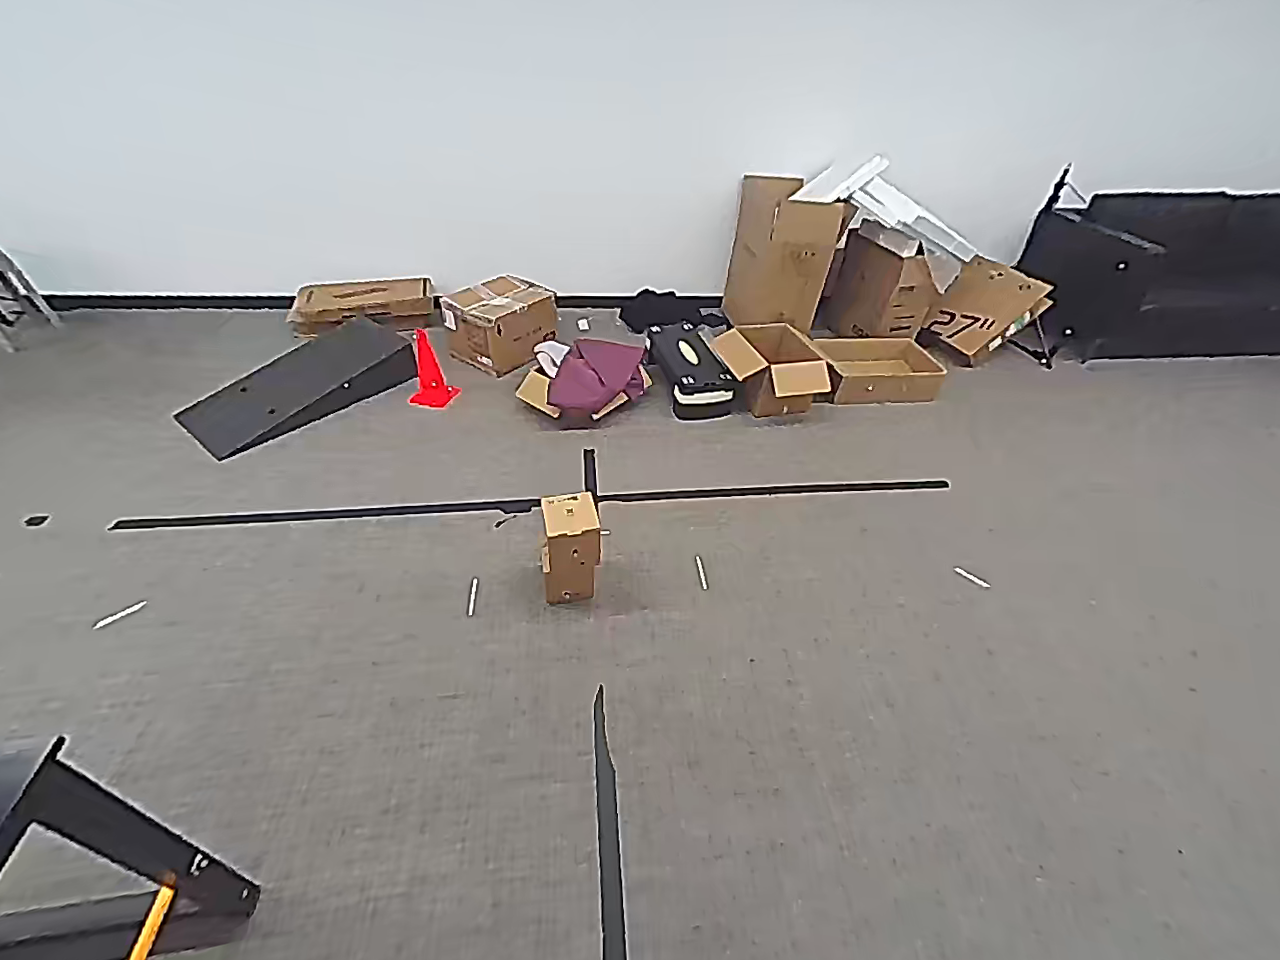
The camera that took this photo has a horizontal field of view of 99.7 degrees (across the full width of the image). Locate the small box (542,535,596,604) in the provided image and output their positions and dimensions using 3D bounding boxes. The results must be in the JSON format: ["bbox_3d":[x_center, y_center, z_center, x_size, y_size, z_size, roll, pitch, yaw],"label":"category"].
[{"bbox_3d":[-0.243,0.296,1.848,0.168,0.176,0.179,-7,43,-11],"label":"small box"}]

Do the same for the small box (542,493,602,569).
[{"bbox_3d":[-0.219,0.171,1.743,0.168,0.176,0.179,-8,42,-12],"label":"small box"}]
